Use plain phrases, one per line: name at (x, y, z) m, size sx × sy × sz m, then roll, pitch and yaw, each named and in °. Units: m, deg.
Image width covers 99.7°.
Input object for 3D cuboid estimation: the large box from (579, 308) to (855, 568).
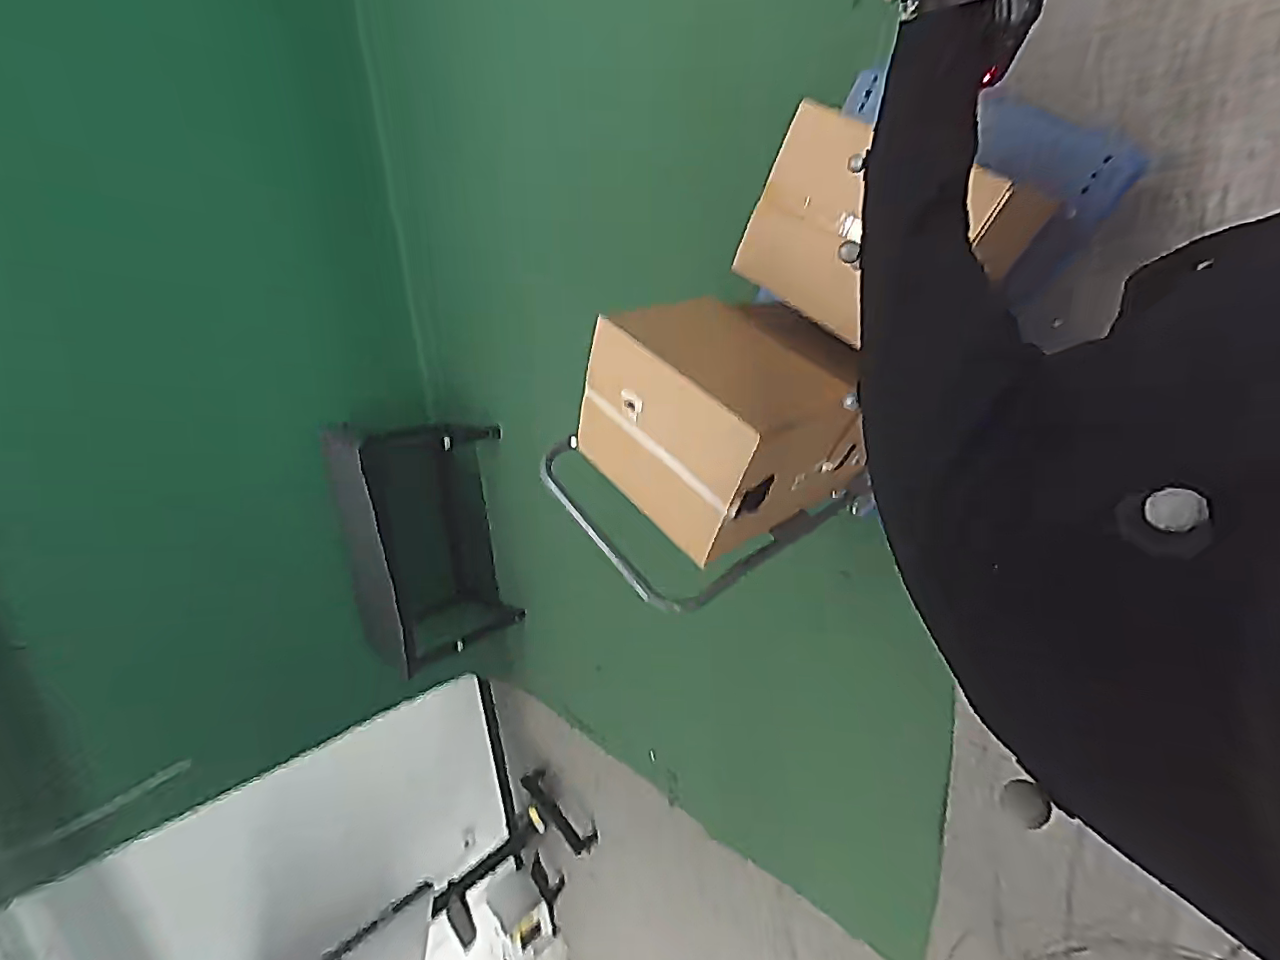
large box at (0.133, -0.106, 1.085) m, size 0.408 × 0.320 × 0.320 m, roll 44°, pitch 136°, yaw 30°
